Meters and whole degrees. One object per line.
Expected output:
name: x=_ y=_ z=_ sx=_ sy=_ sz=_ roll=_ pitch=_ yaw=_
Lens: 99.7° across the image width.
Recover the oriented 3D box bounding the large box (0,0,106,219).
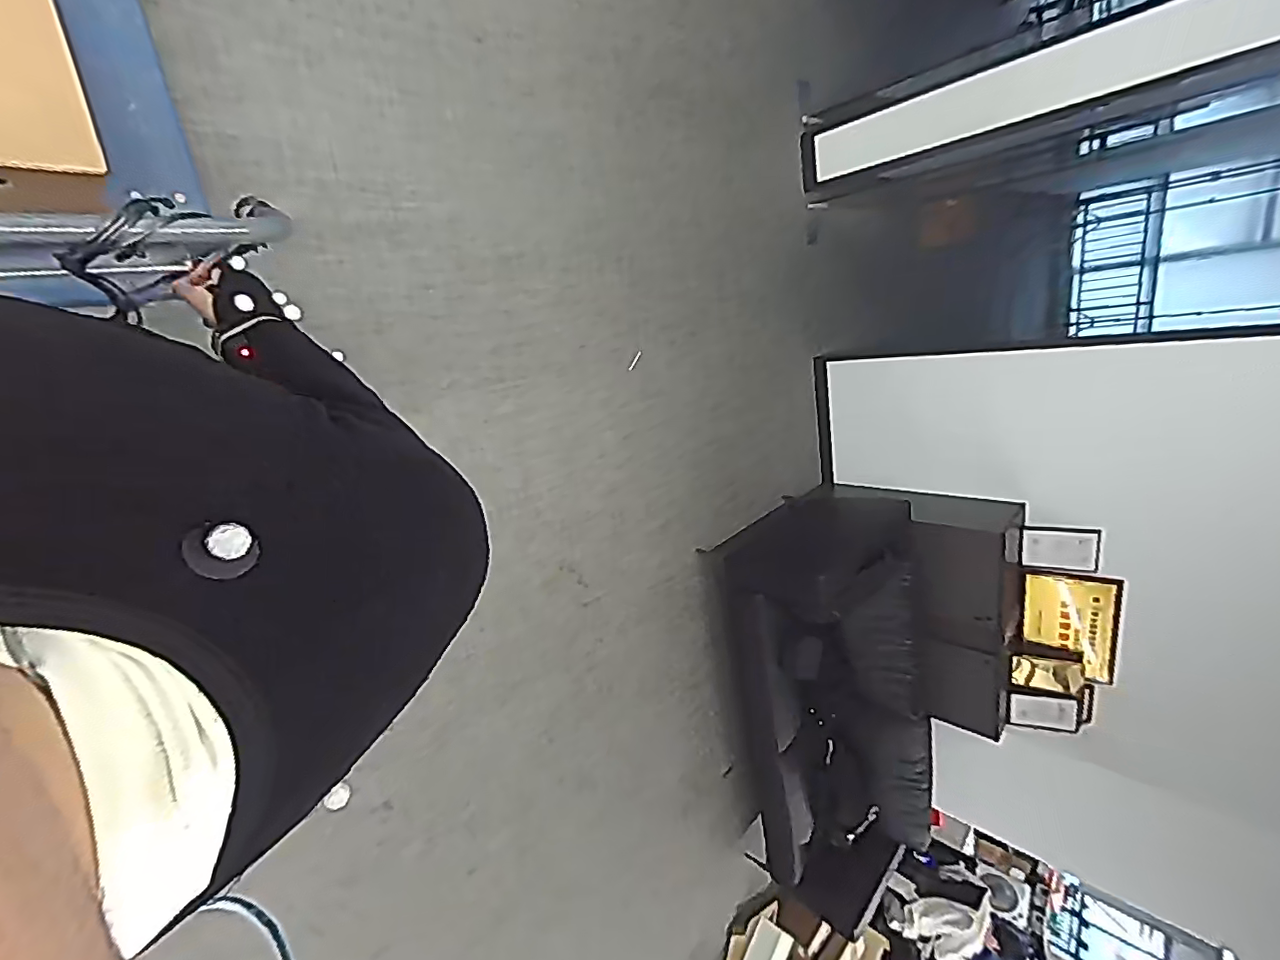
large box: x=-1.052 y=-0.629 z=0.781 sx=0.320 sy=0.320 sz=0.408 roll=-21 pitch=110 yaw=-42
